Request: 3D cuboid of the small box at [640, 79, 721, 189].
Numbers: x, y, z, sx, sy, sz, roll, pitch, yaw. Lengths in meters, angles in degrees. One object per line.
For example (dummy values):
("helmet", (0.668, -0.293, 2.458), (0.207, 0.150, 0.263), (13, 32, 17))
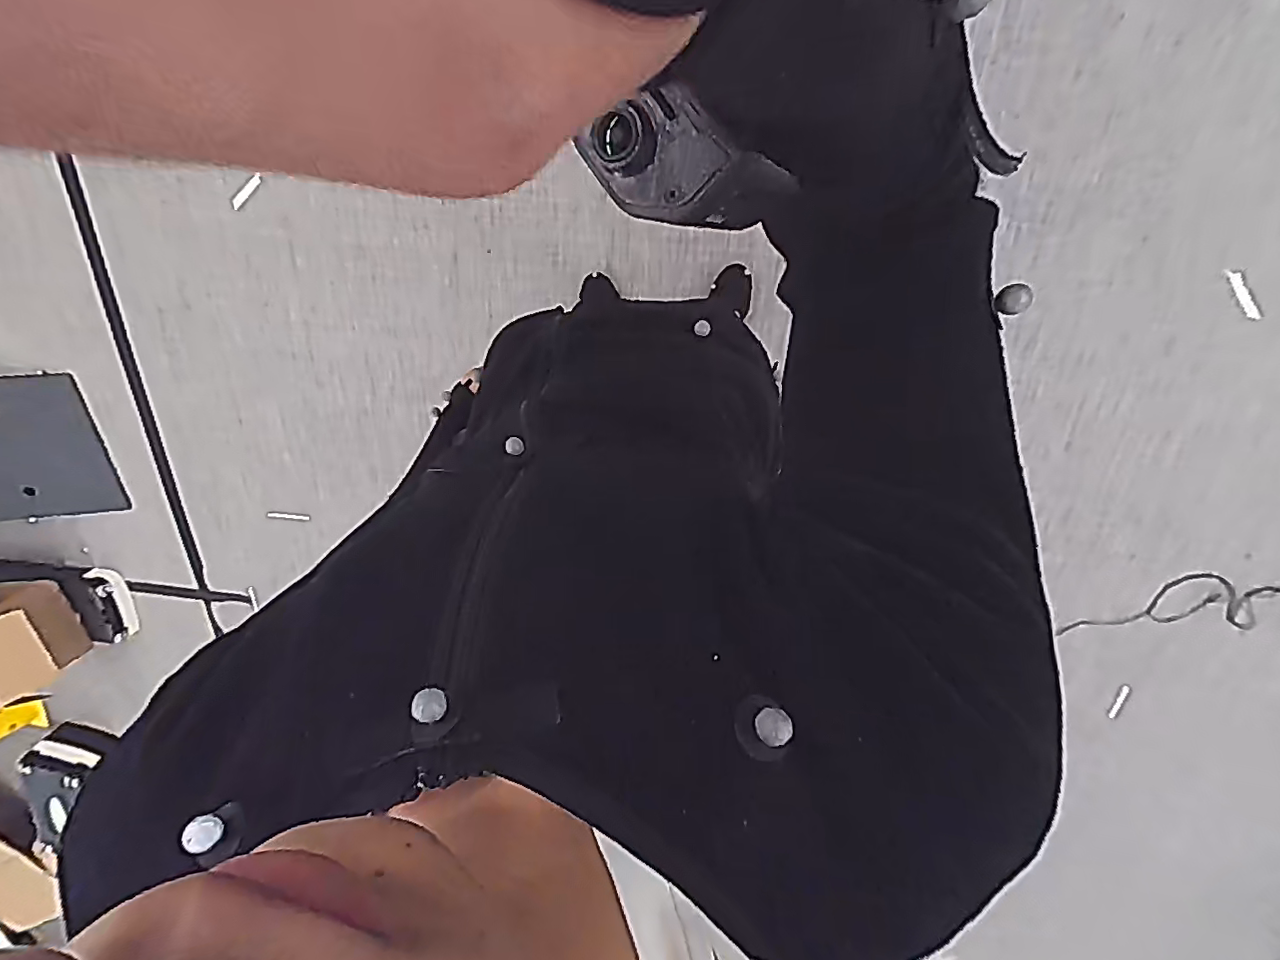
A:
("small box", (0.098, -0.793, 1.257), (0.168, 0.176, 0.179), (-5, 112, 9))
